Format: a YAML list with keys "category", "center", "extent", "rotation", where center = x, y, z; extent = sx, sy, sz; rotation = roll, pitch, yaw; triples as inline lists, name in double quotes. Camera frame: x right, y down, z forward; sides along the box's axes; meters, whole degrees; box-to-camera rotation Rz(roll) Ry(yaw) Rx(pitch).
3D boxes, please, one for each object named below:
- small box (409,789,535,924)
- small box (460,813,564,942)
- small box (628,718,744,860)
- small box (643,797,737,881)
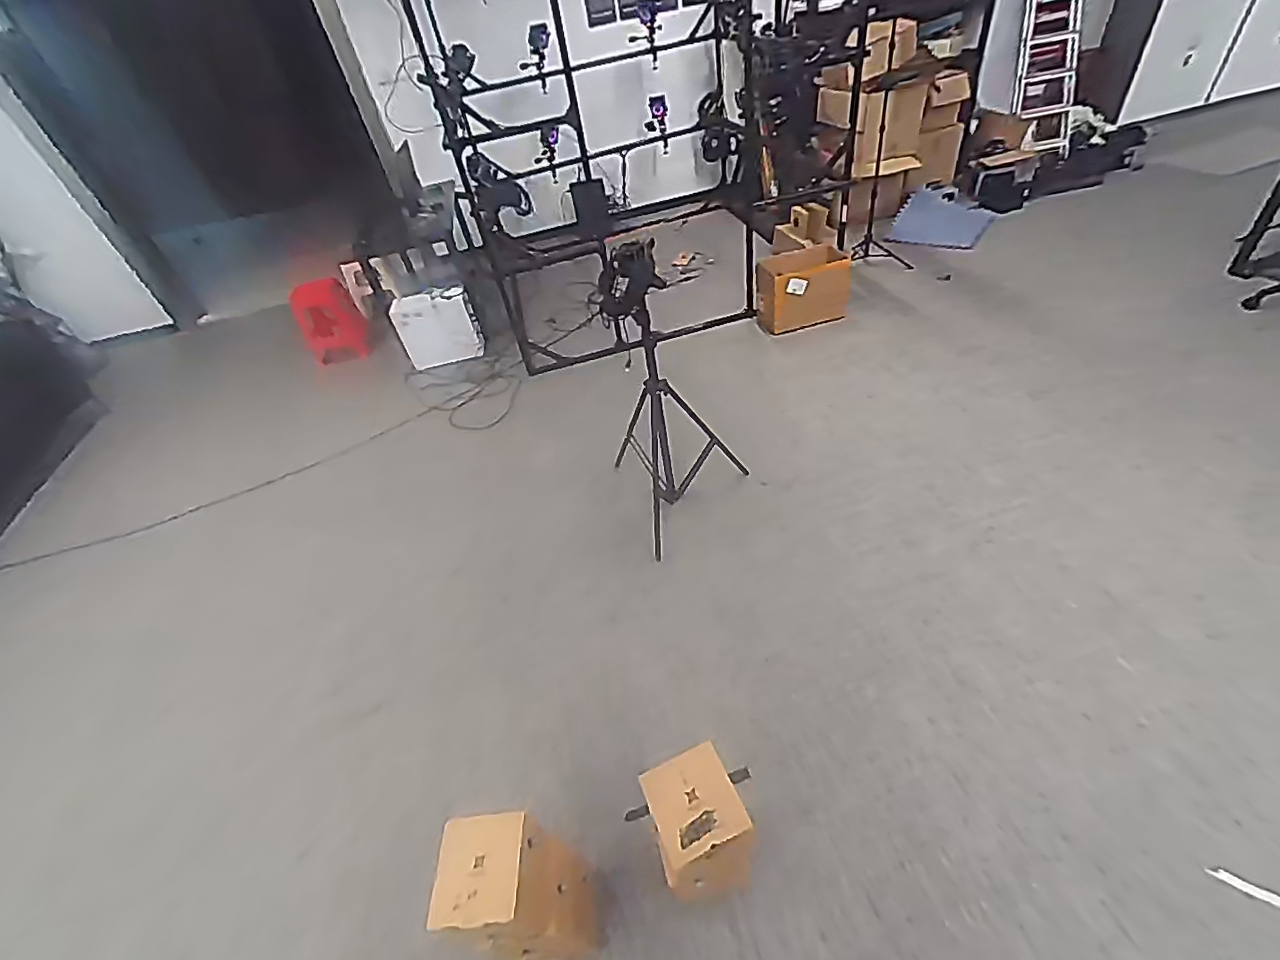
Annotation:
- category: "small box"
  center: [-0.308, 0.721, 1.036]
  extent: [0.168, 0.176, 0.179]
  rotation: [-9, 44, 5]
- category: "small box"
  center: [-0.263, 0.840, 1.142]
  extent: [0.168, 0.176, 0.179]
  rotation: [-13, 43, 0]
- category: "small box"
  center: [0.094, 0.610, 1.059]
  extent: [0.168, 0.176, 0.179]
  rotation: [-22, 44, -11]
- category: "small box"
  center: [0.104, 0.728, 1.175]
  extent: [0.168, 0.176, 0.179]
  rotation: [-17, 43, -5]
